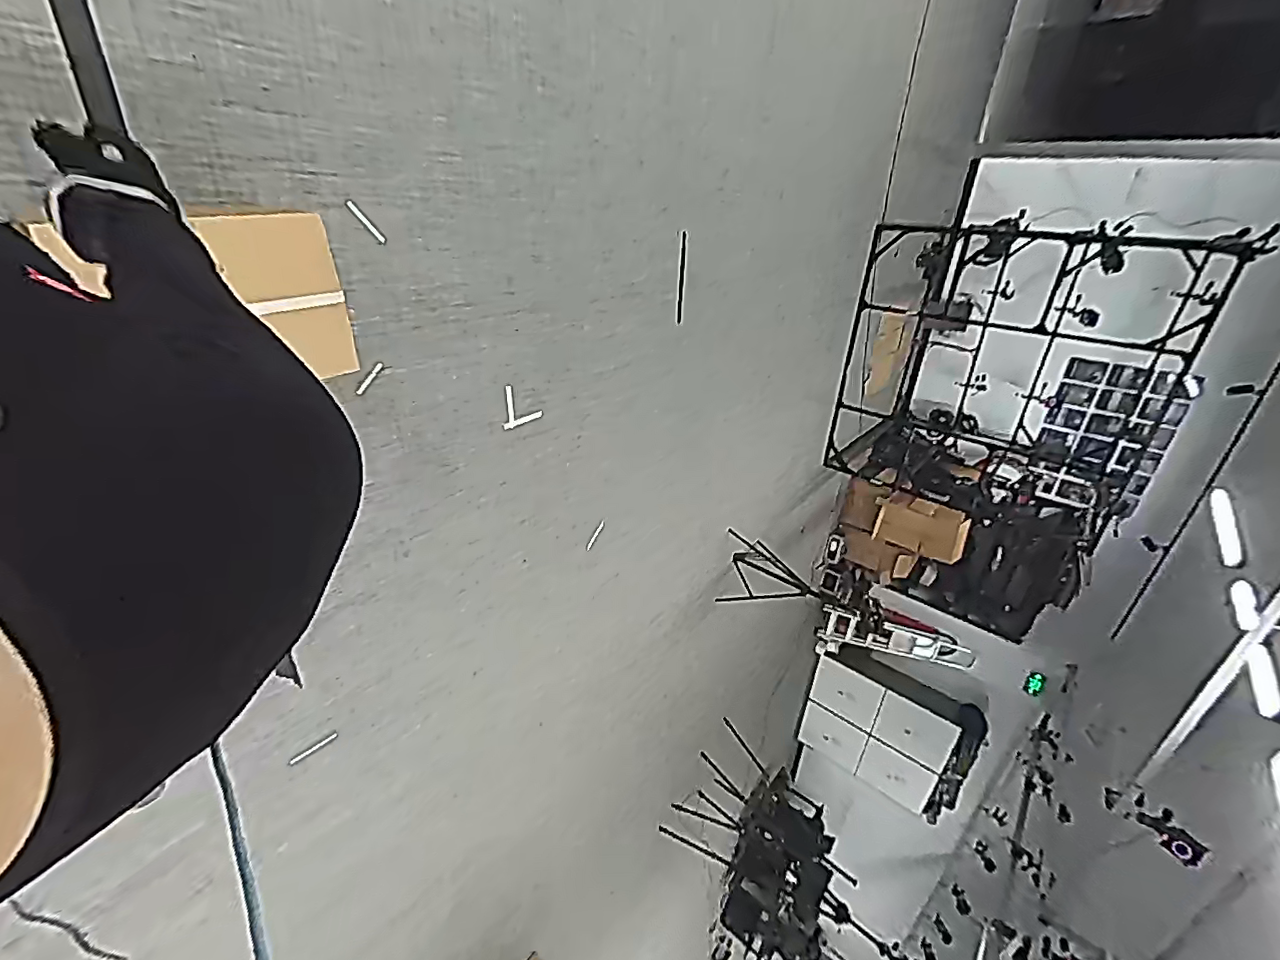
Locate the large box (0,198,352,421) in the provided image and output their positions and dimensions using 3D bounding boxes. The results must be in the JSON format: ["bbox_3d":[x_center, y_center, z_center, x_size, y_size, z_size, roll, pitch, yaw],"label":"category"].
[{"bbox_3d":[-0.863,-0.358,1.051,0.408,0.320,0.320,-31,132,-42],"label":"large box"}]
